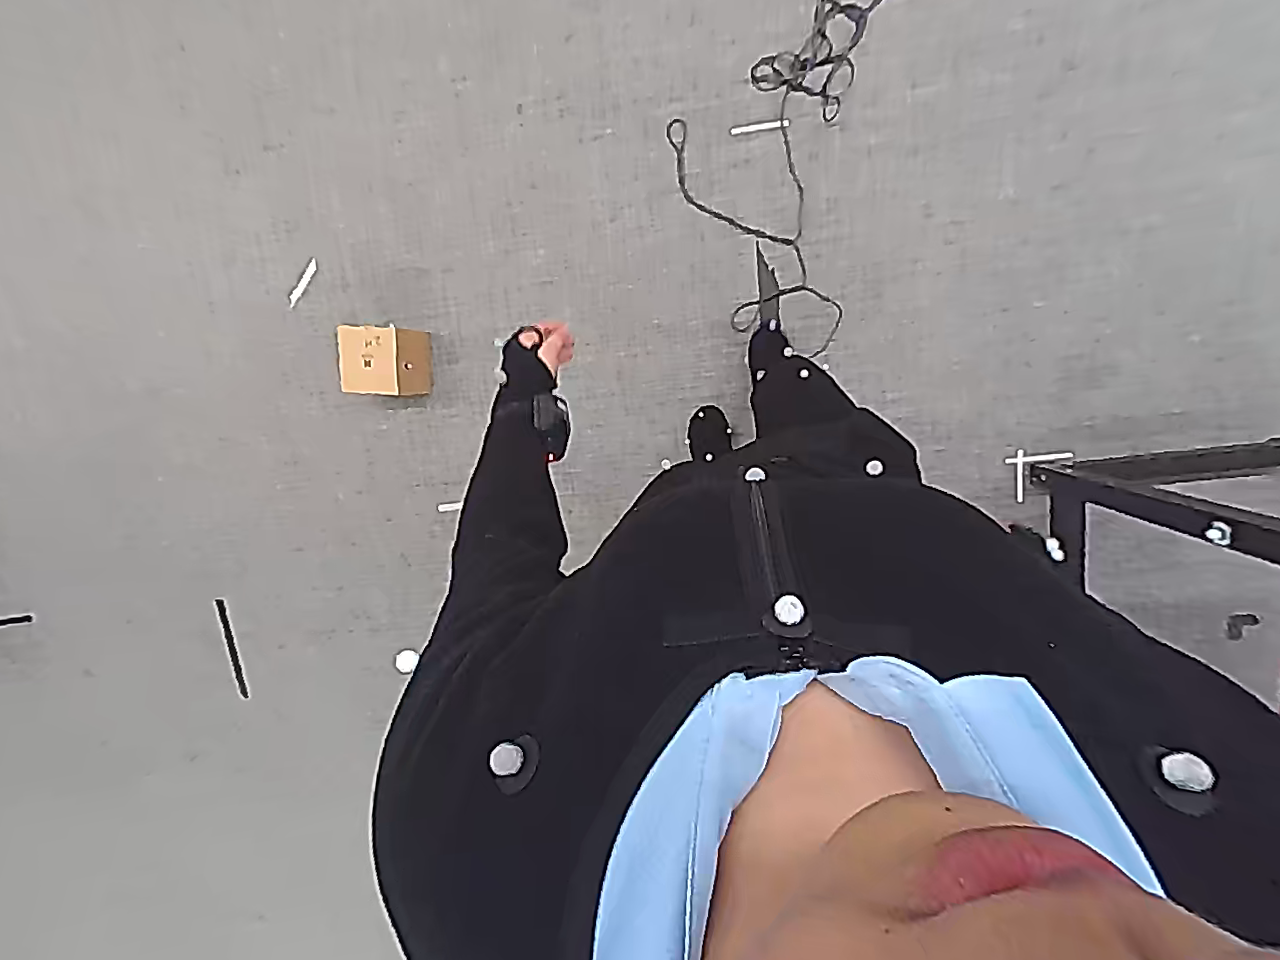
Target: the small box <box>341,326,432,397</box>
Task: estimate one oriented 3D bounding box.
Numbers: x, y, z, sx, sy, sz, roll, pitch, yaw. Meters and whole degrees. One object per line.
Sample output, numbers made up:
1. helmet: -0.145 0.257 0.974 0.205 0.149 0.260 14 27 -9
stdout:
1. small box: -0.689 -0.324 1.487 0.168 0.176 0.179 5 101 7
